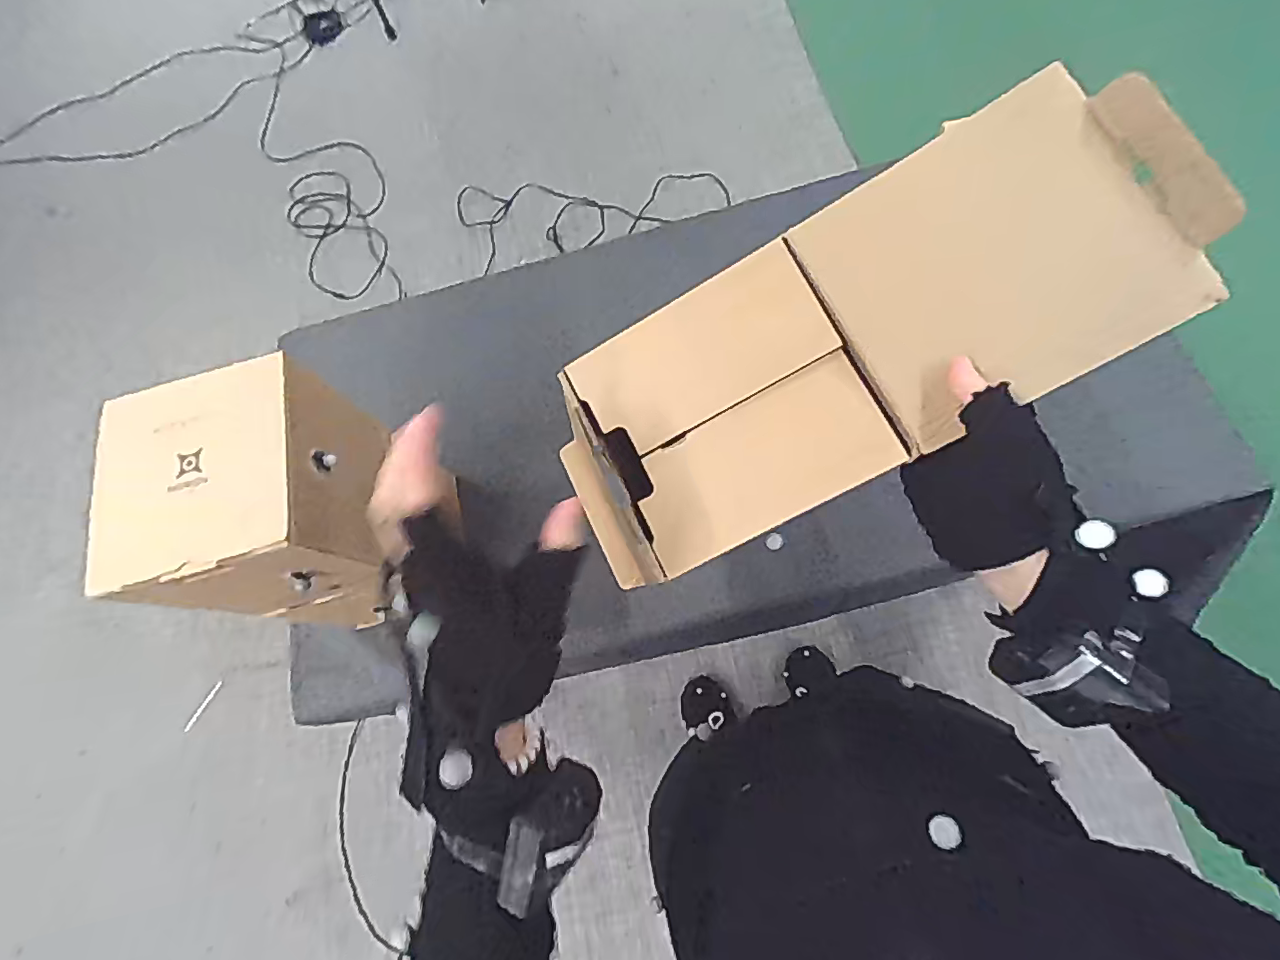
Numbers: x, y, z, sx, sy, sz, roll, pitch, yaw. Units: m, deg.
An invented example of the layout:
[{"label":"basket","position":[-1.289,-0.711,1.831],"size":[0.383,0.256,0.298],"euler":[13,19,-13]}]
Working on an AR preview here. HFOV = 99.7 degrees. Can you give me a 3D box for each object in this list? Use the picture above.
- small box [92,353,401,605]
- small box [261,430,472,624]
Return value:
[{"label":"small box","position":[-0.347,0.014,0.510],"size":[0.168,0.176,0.179],"euler":[-15,70,2]},{"label":"small box","position":[-0.325,0.067,0.663],"size":[0.168,0.176,0.179],"euler":[-16,70,2]}]
